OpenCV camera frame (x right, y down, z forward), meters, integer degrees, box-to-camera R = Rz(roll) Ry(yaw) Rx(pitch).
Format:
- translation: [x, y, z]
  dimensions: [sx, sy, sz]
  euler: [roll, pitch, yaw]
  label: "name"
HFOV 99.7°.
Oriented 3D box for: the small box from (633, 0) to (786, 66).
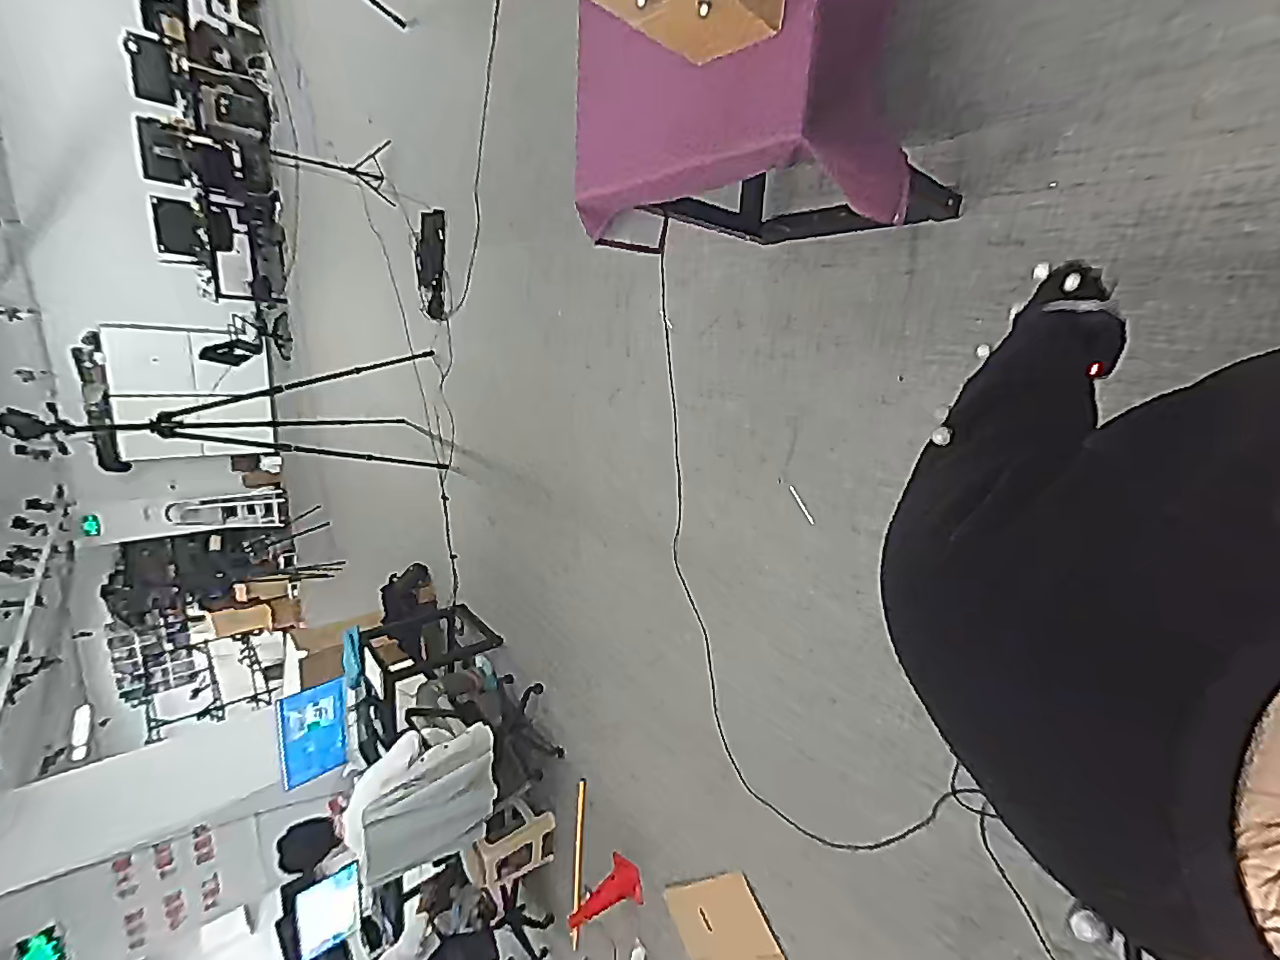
- translation: [0.113, -0.787, 0.840]
  dimensions: [0.179, 0.176, 0.168]
  euler: [19, 110, 45]
  label: "small box"
